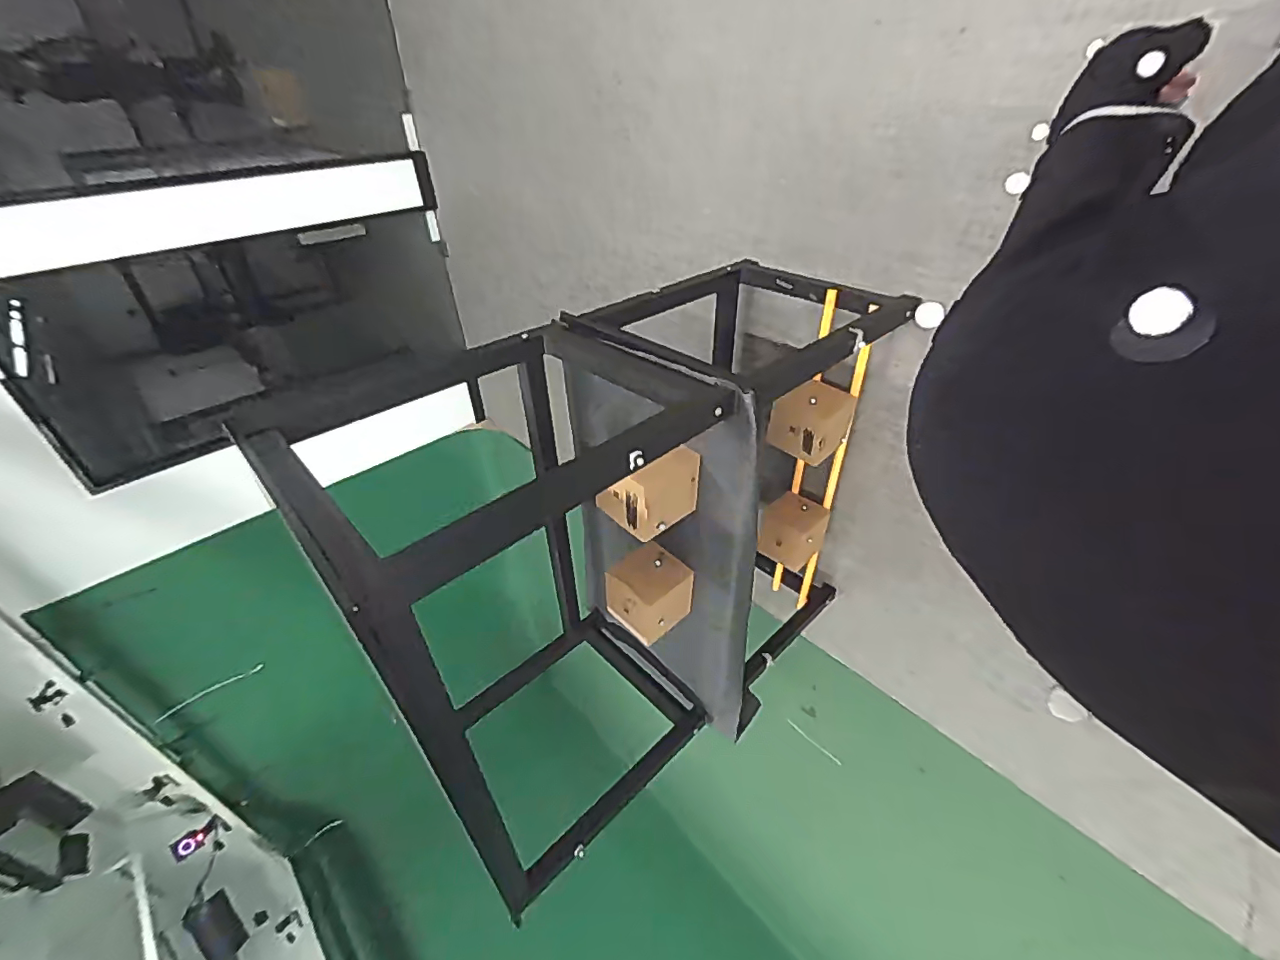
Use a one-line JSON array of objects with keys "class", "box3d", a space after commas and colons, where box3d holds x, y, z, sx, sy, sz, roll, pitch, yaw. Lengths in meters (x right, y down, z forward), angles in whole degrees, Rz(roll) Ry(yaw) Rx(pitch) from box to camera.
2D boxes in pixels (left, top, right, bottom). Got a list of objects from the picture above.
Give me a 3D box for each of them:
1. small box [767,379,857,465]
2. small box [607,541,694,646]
[{"class": "small box", "box3d": [0.505, -0.178, 1.586, 0.179, 0.176, 0.168, 34, 139, 33]}, {"class": "small box", "box3d": [0.030, 0.300, 1.451, 0.168, 0.176, 0.179, 34, 139, 34]}]
